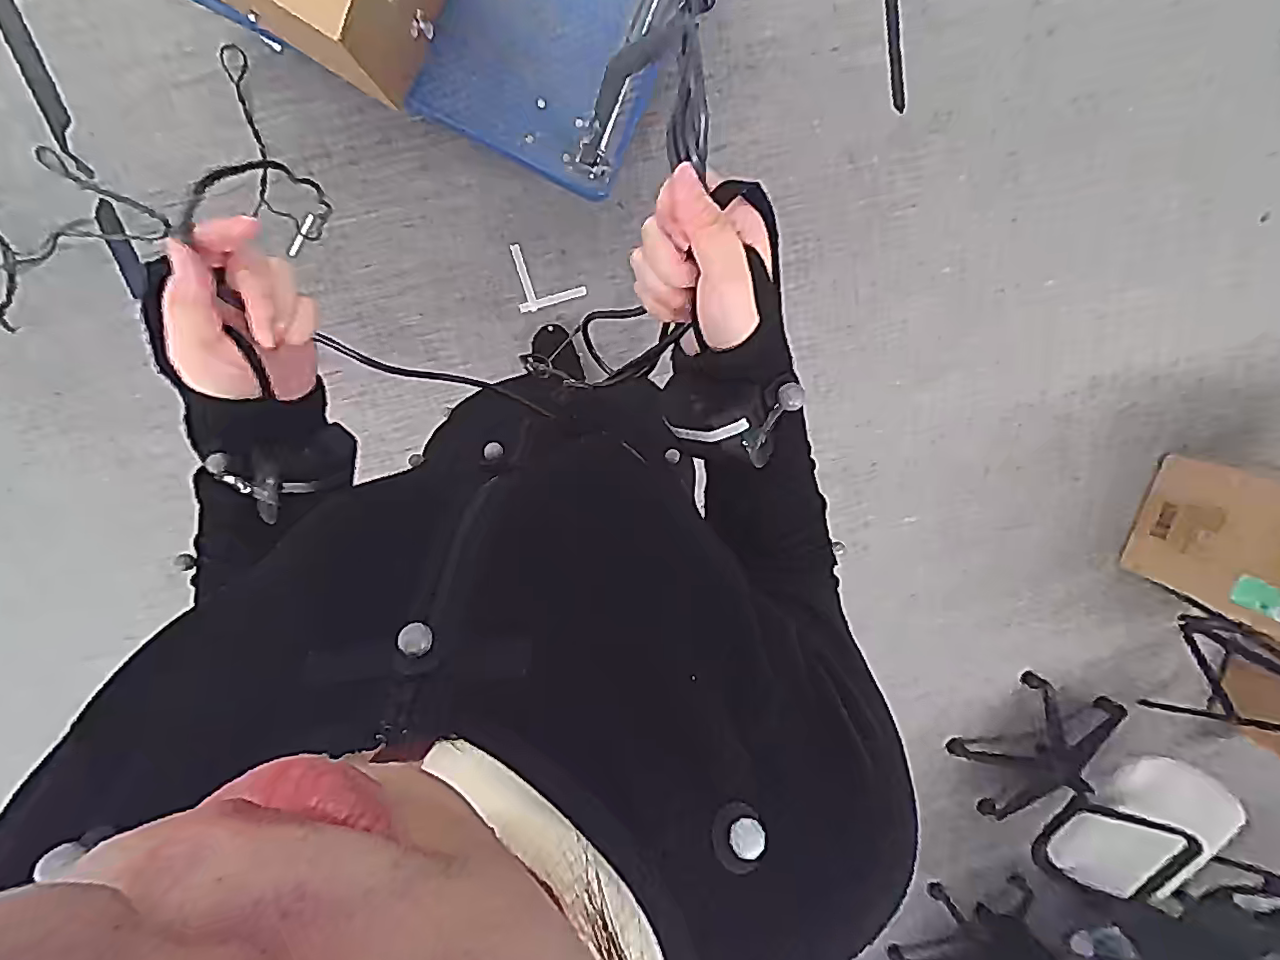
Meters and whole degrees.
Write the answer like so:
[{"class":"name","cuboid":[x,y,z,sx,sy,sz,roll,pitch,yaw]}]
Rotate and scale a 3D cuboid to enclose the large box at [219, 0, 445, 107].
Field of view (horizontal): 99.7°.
[{"class":"large box","cuboid":[-0.540,-0.877,0.825,0.408,0.320,0.320,26,102,-14]}]
